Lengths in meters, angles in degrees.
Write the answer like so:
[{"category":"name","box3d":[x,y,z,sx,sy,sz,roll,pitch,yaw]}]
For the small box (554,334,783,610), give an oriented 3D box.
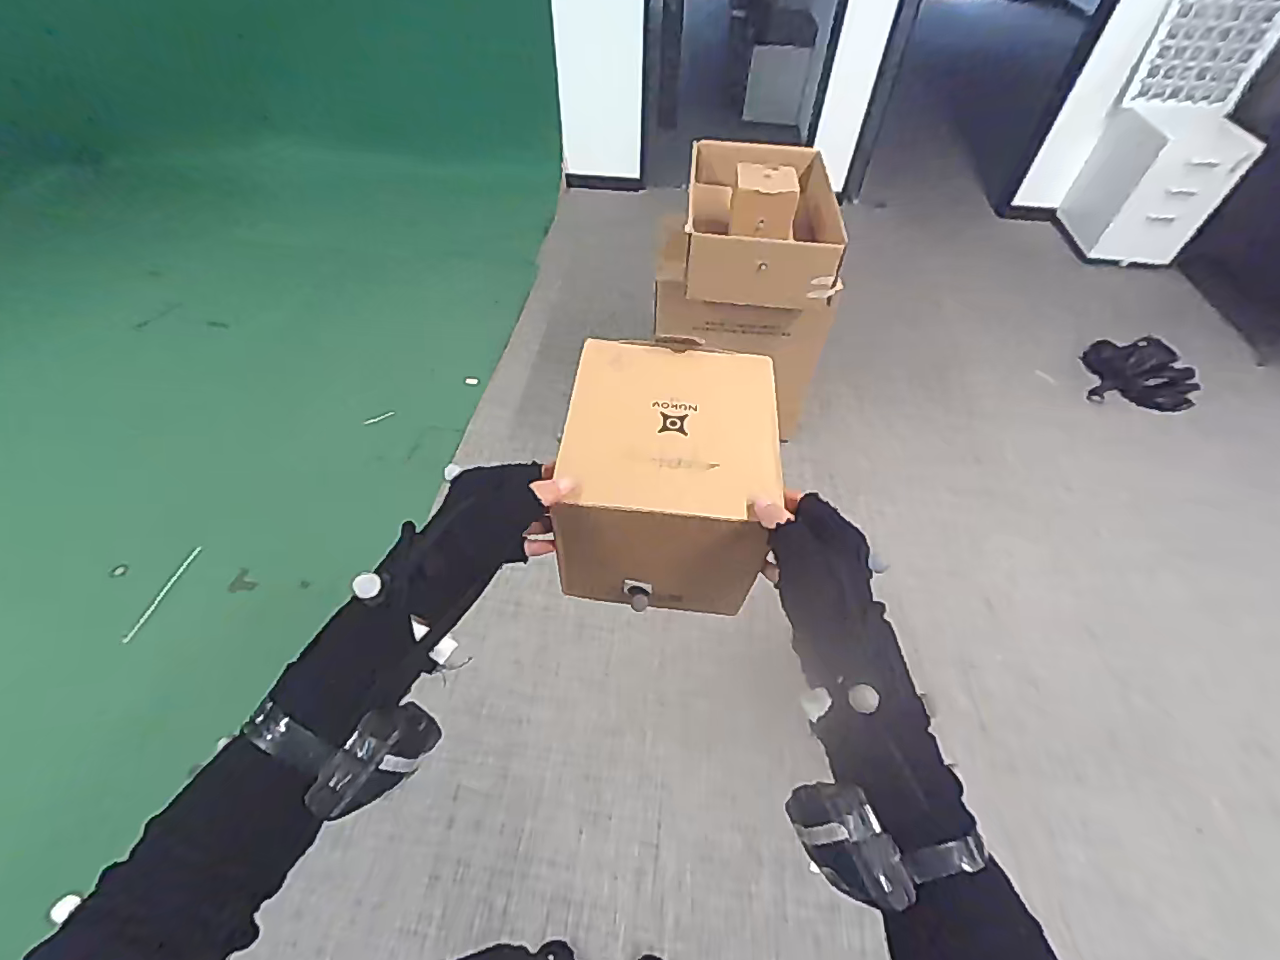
[{"category":"small box","box3d":[0.022,-0.003,0.490,0.168,0.176,0.179,6,55,0]}]
